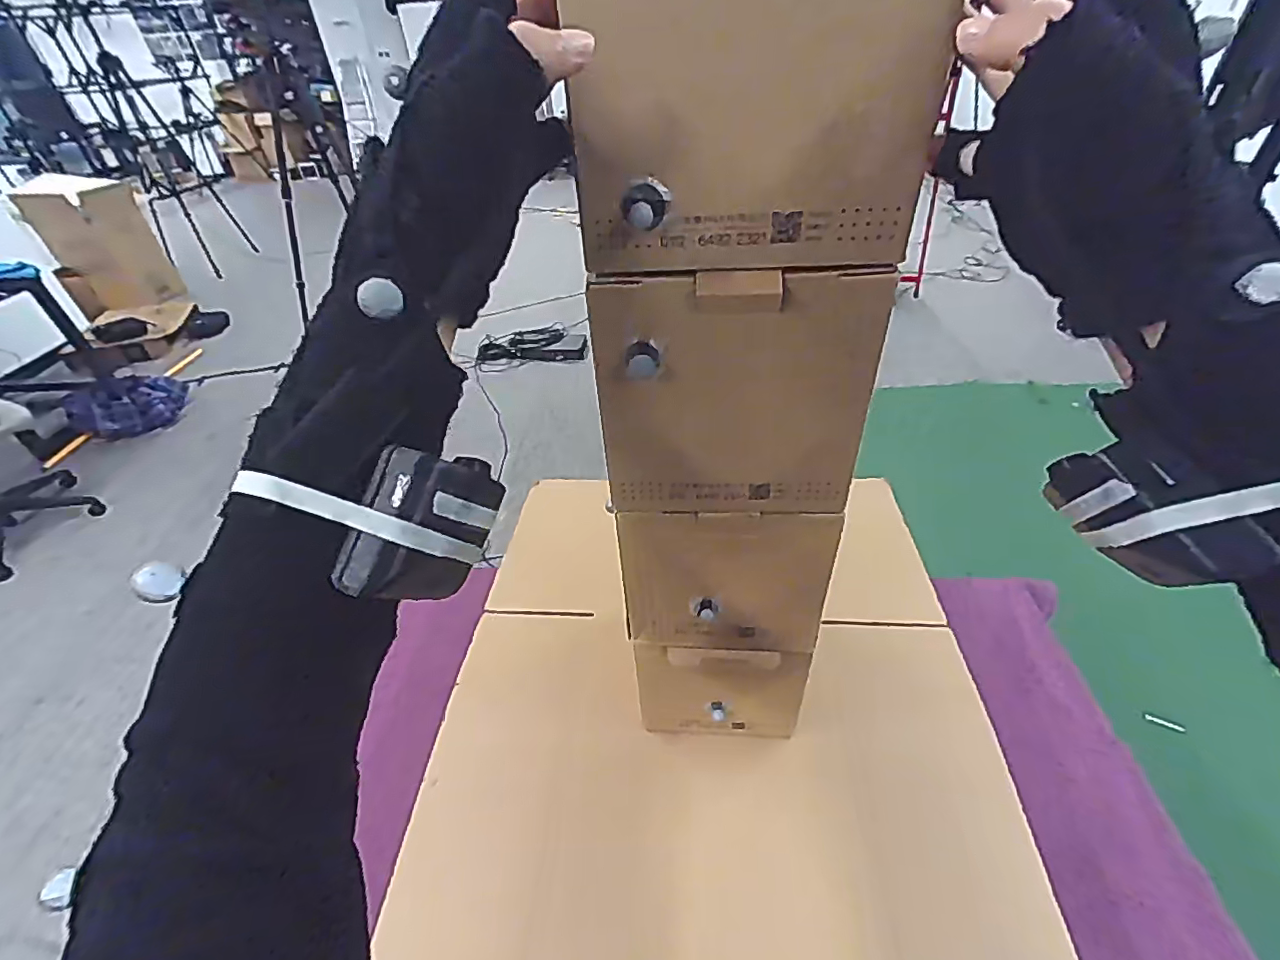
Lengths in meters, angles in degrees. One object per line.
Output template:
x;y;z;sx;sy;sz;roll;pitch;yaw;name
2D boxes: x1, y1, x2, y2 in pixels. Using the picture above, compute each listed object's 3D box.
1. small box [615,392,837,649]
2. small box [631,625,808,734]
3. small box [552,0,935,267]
0.072;0.033;0.509;0.168;0.176;0.179;1;39;6;small box
0.084;0.158;0.613;0.168;0.176;0.179;0;39;6;small box
0.052;-0.226;0.306;0.168;0.176;0.179;1;37;6;small box
